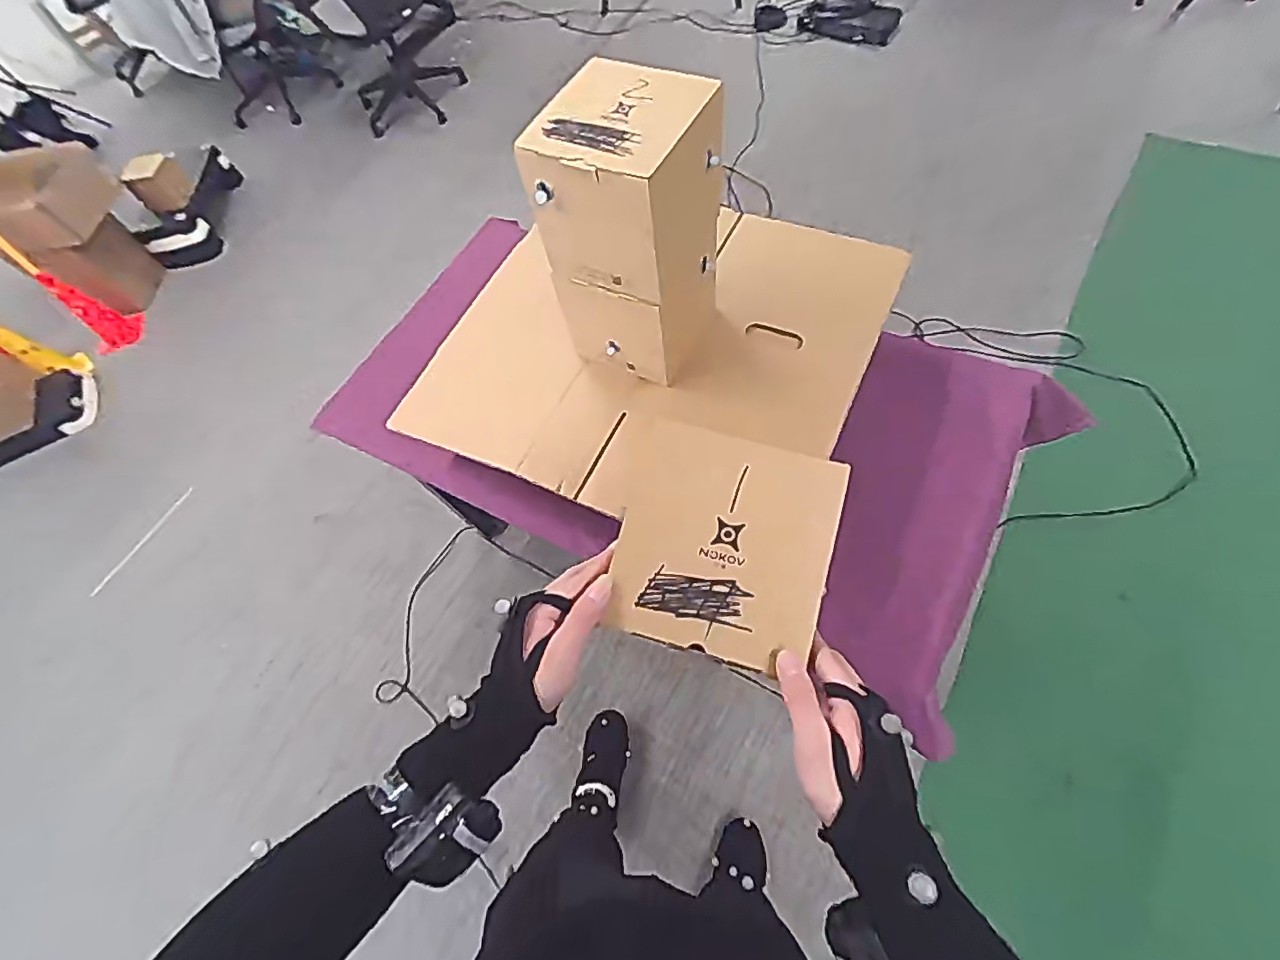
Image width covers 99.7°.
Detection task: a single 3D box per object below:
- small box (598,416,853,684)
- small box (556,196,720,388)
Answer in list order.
[{"bbox_3d":[0.074,0.064,0.502,0.168,0.176,0.179,16,81,6],"label":"small box"},{"bbox_3d":[0.005,-0.270,0.790,0.168,0.176,0.179,23,69,17],"label":"small box"}]
